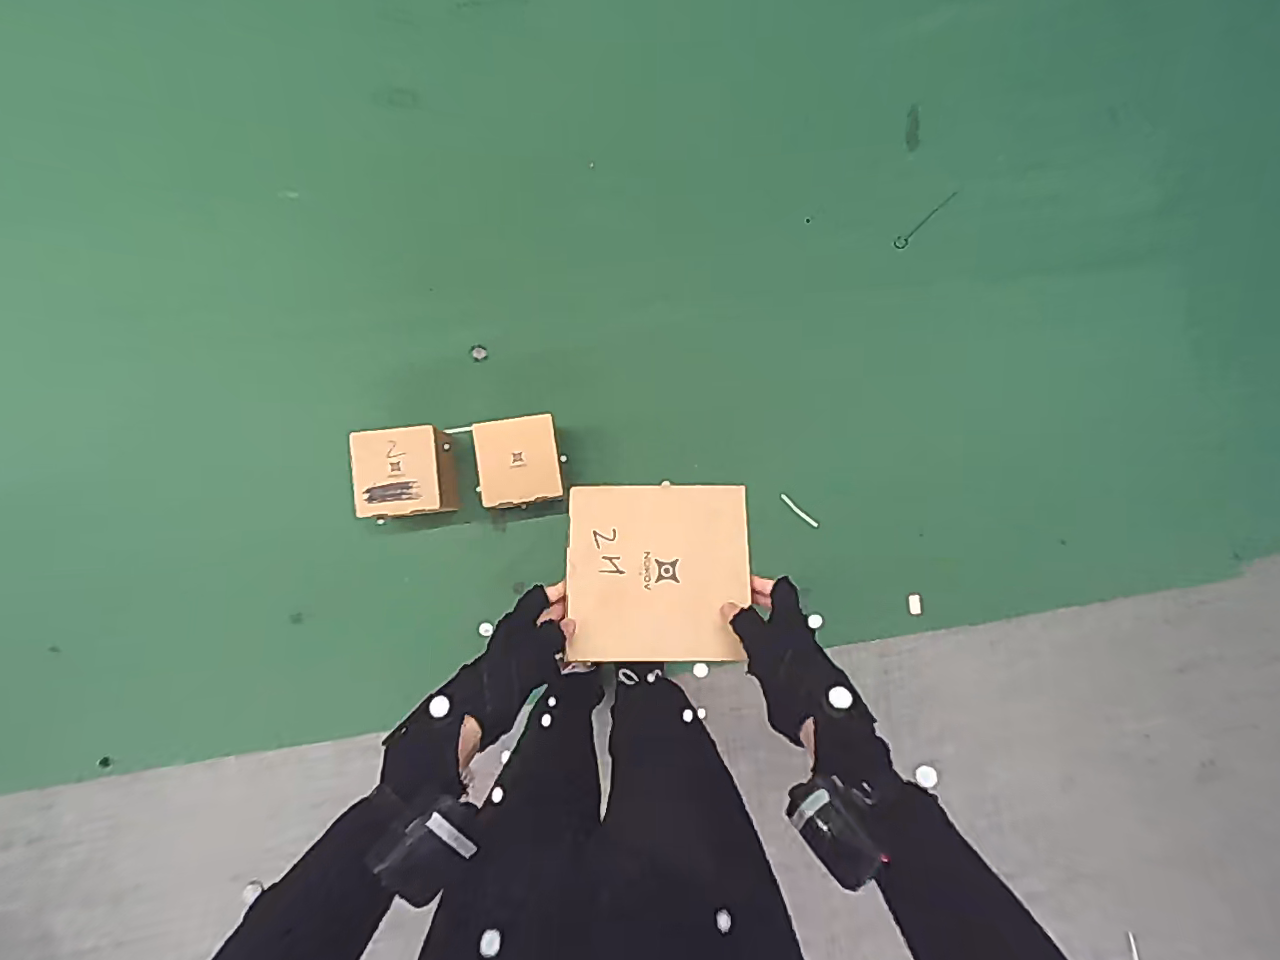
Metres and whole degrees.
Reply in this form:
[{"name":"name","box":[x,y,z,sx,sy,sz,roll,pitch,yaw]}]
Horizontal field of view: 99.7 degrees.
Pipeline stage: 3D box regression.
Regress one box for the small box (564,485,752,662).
[{"name":"small box","box":[0.018,0.106,0.595,0.179,0.176,0.168,1,75,0]}]

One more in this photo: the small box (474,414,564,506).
[{"name":"small box","box":[-0.261,-0.039,1.196,0.168,0.176,0.179,-8,89,-6]}]
